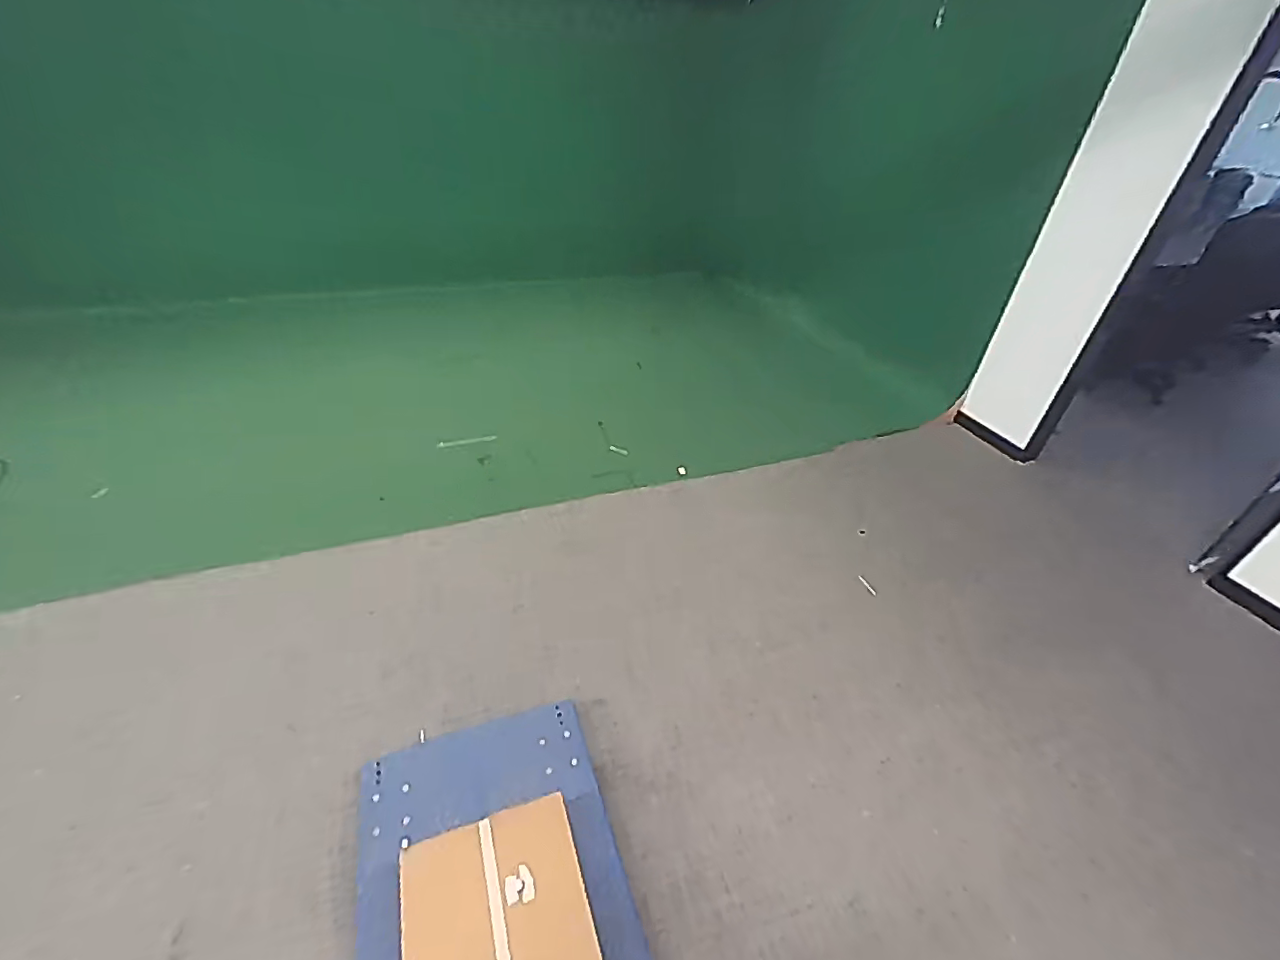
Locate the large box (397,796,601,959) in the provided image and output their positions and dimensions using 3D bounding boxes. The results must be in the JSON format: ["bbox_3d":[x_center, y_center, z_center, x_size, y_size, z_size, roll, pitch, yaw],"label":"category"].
[{"bbox_3d":[-0.246,0.906,1.002,0.320,0.320,0.408,-10,38,-19],"label":"large box"}]
